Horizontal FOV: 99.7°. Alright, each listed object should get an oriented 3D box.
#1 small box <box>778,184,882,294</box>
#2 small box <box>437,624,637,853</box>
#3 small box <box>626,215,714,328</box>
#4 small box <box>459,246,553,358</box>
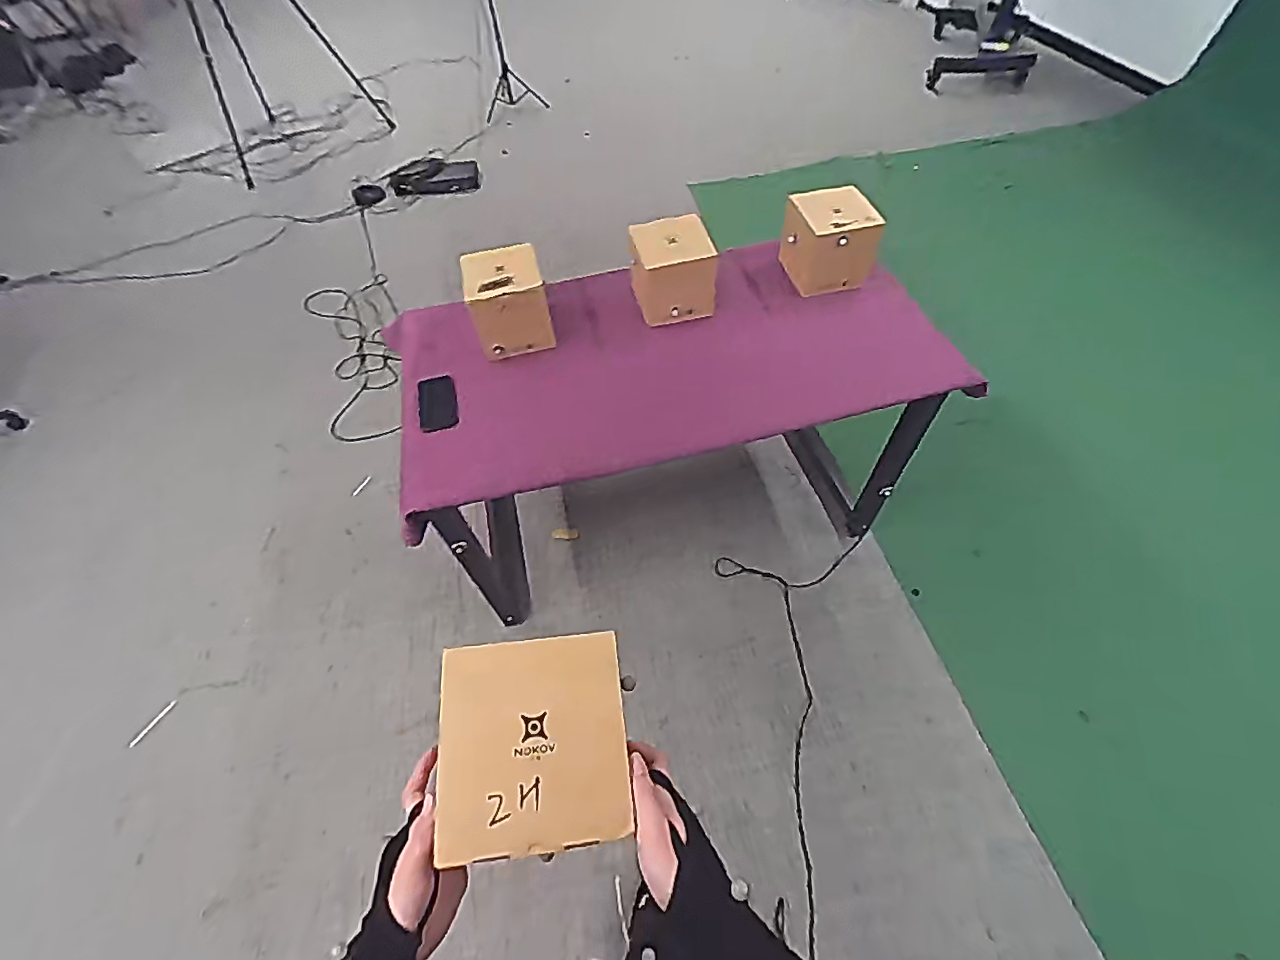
[{"bbox_3d":[0.447,-0.580,1.308,0.168,0.176,0.179,-13,55,-3],"label":"small box"},{"bbox_3d":[-0.097,0.260,0.553,0.168,0.176,0.179,-4,62,-6],"label":"small box"},{"bbox_3d":[0.068,-0.491,1.279,0.168,0.176,0.179,-14,56,-4],"label":"small box"},{"bbox_3d":[-0.304,-0.401,1.243,0.168,0.176,0.179,-14,55,-5],"label":"small box"}]
